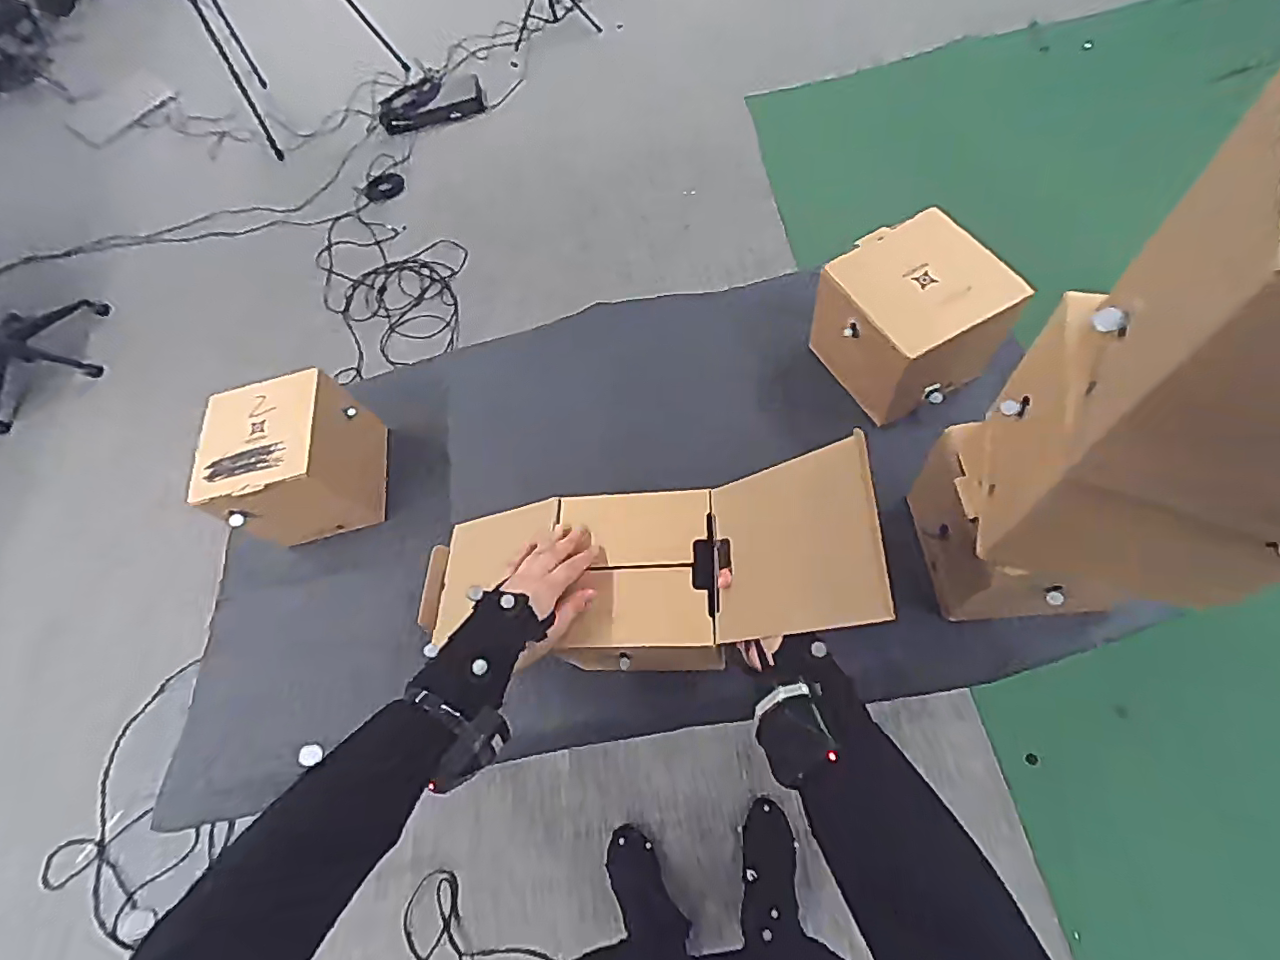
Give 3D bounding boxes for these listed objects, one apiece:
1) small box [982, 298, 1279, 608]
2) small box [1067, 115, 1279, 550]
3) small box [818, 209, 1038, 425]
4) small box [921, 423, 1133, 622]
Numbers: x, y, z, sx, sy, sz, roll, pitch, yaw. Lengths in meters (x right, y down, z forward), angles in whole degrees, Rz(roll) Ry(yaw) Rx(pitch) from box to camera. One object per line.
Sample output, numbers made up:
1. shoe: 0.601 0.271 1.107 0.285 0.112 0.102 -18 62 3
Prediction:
1. small box: 0.397 -0.014 0.426 0.179 0.176 0.168 13 65 17
2. small box: 0.370 -0.070 0.272 0.179 0.176 0.168 23 68 22
3. small box: 0.354 -0.205 0.711 0.168 0.176 0.179 -28 65 0
4. small box: 0.421 0.048 0.576 0.179 0.176 0.168 -7 61 8
